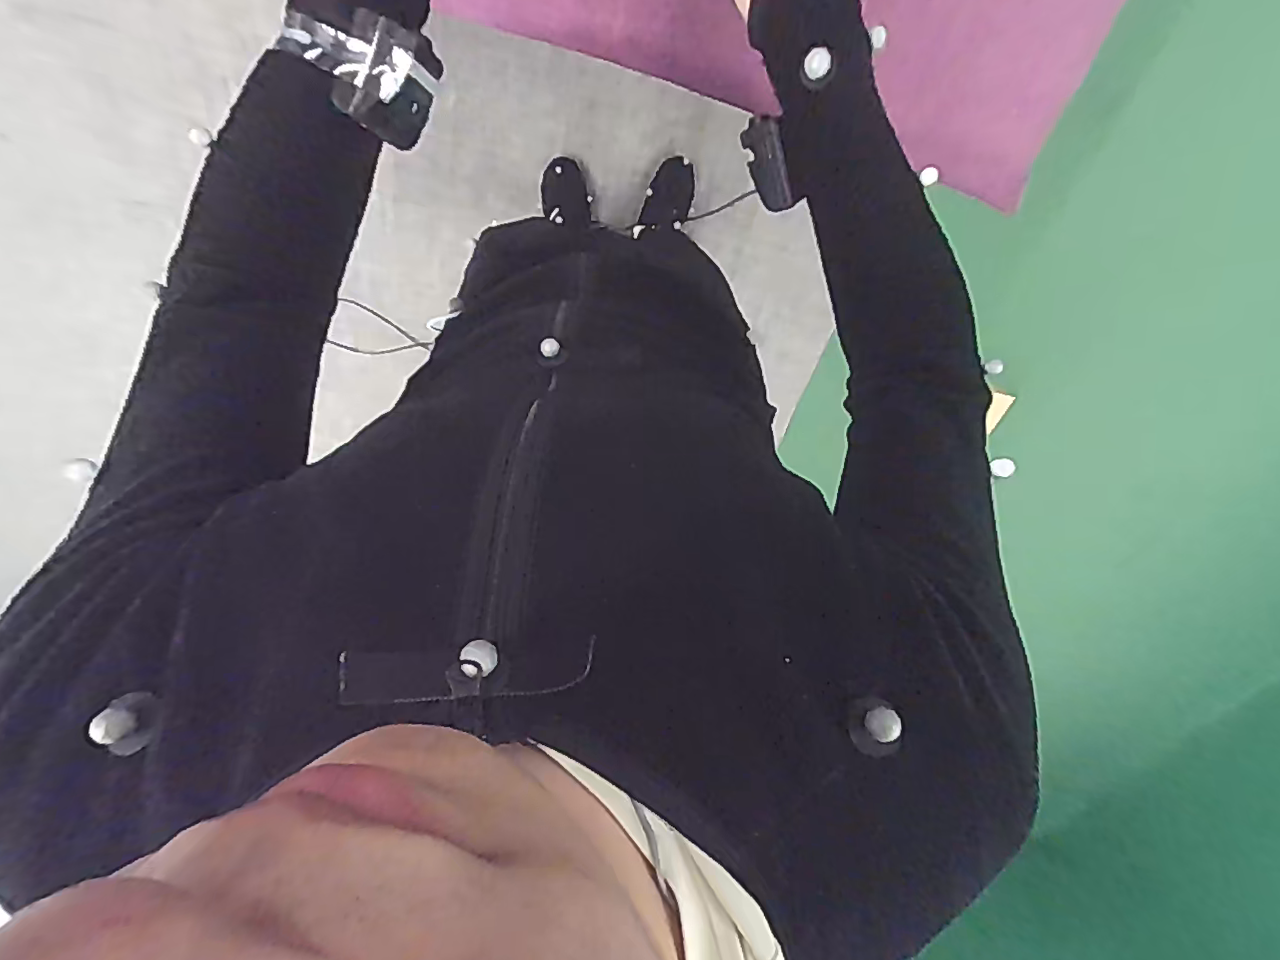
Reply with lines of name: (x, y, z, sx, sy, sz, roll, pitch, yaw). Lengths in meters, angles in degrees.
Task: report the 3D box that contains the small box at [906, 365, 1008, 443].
small box: (0.973, -0.240, 1.676, 0.179, 0.176, 0.168, 11, 122, -13)
